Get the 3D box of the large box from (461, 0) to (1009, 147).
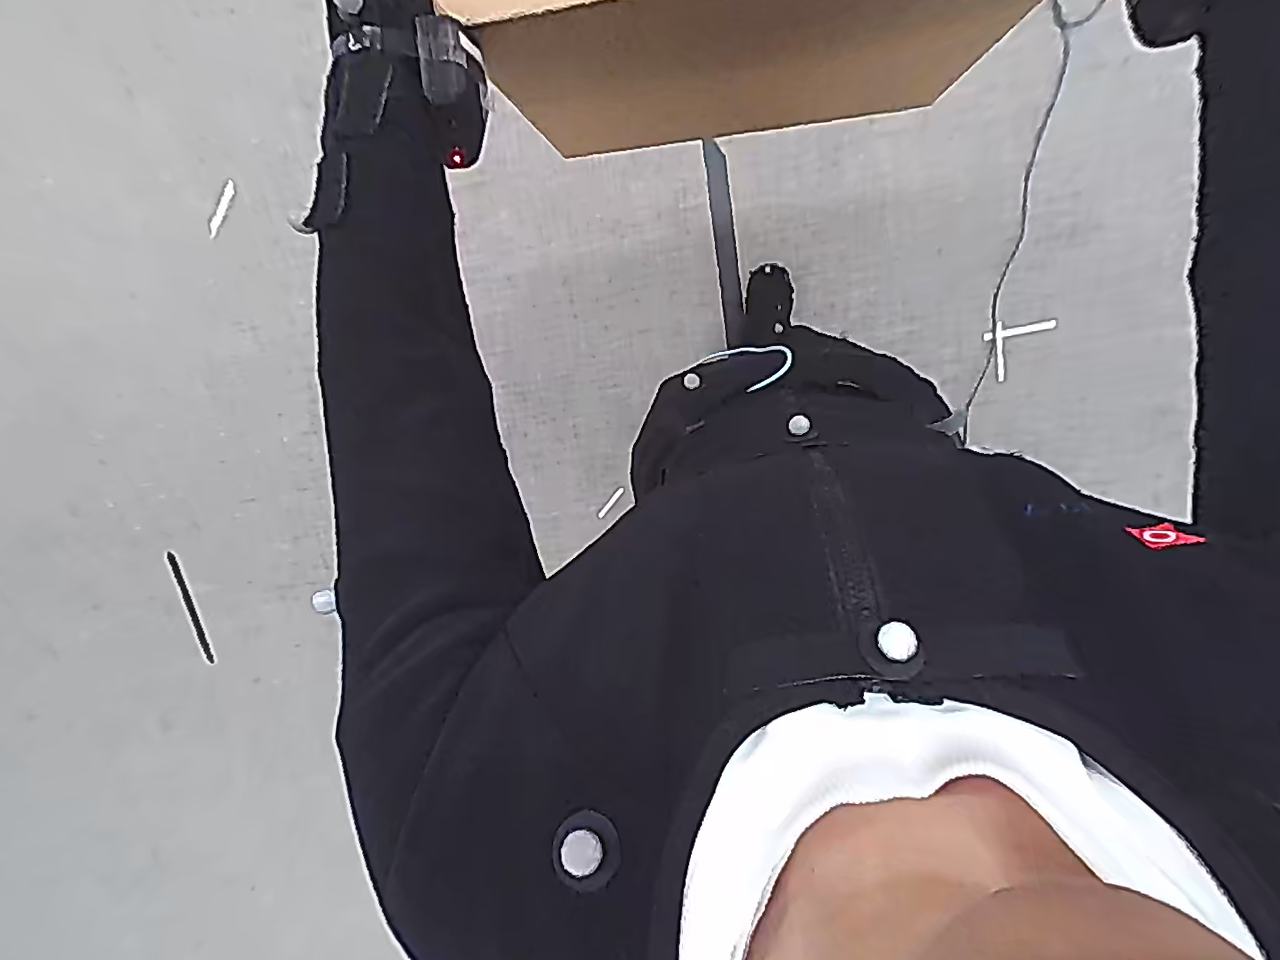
[{"bbox_3d":[0.077,-0.501,0.417,0.408,0.320,0.320,-4,107,8],"label":"large box"}]
